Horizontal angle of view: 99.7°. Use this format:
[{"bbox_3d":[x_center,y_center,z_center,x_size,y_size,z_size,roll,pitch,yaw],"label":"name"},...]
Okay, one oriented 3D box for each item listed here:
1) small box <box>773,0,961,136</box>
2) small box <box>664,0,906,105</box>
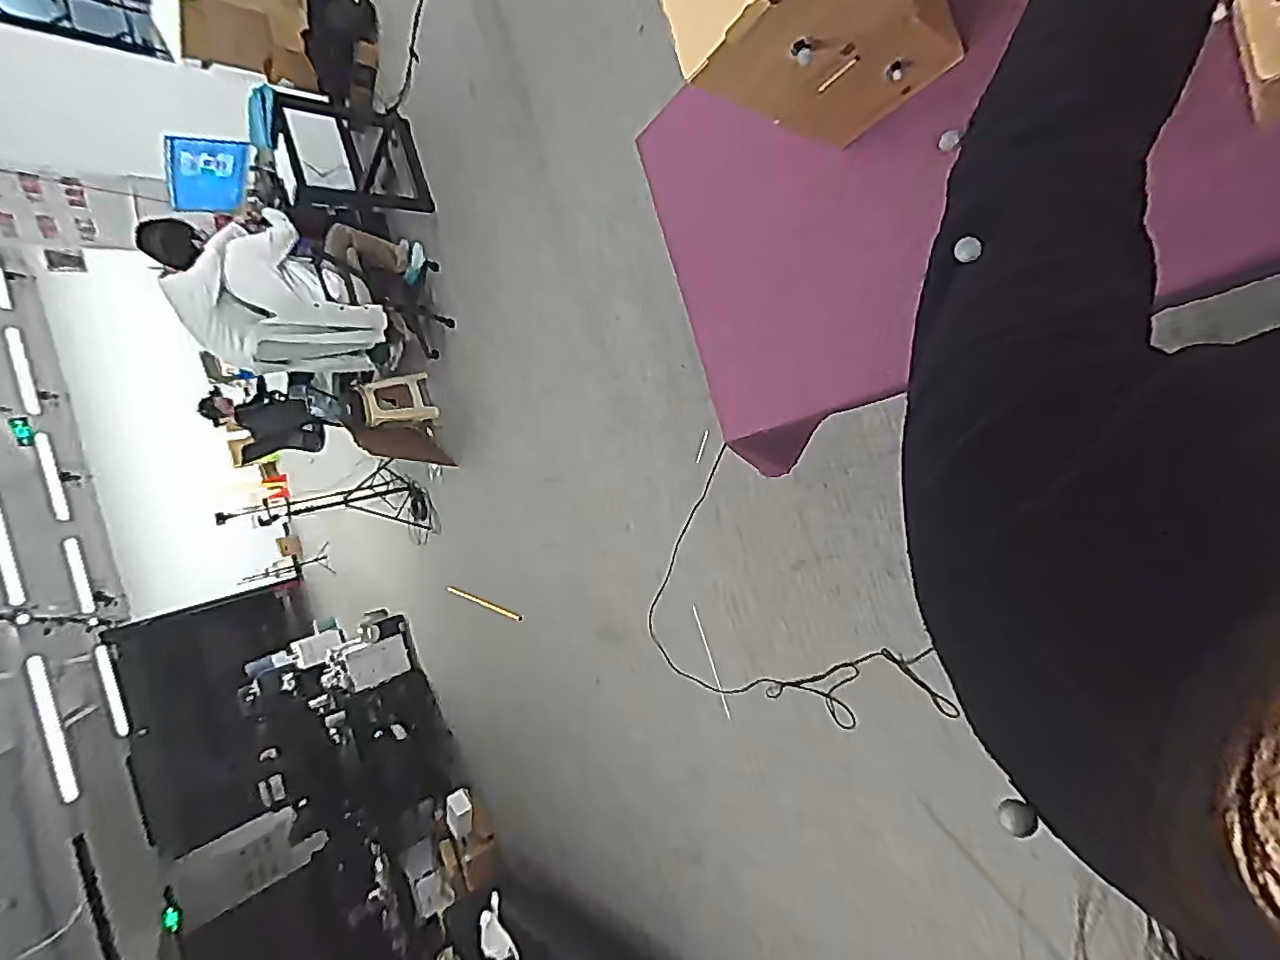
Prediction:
[{"bbox_3d":[0.253,-0.549,0.648,0.168,0.176,0.179,-17,89,49],"label":"small box"},{"bbox_3d":[0.136,-0.512,0.537,0.168,0.176,0.179,-17,90,49],"label":"small box"}]
